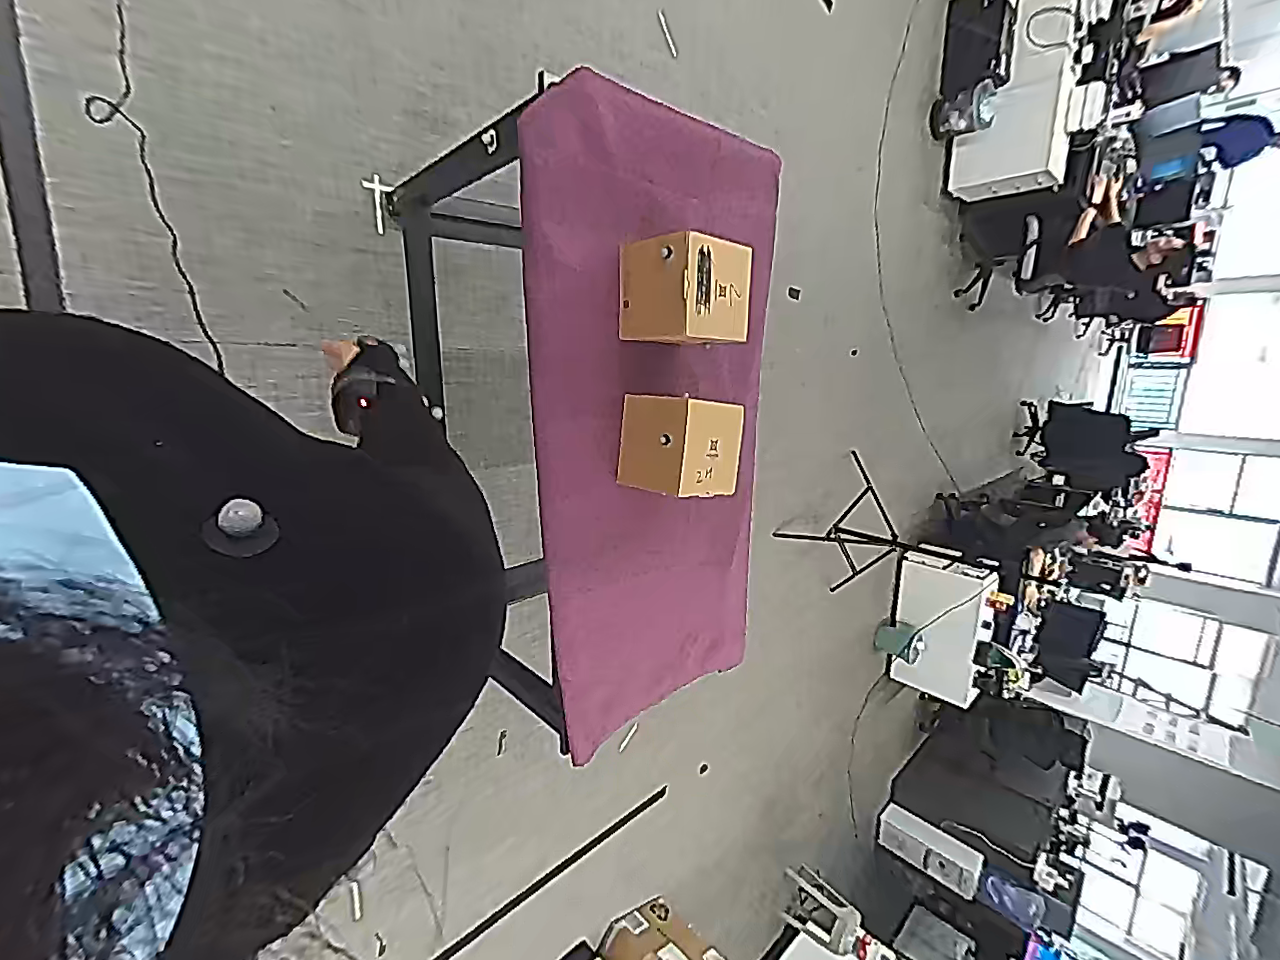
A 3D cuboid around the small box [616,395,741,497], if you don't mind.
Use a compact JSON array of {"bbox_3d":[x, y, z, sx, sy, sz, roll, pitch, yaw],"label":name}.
[{"bbox_3d":[0.071,-0.068,1.047,0.168,0.176,0.179,0,100,-44],"label":"small box"}]
